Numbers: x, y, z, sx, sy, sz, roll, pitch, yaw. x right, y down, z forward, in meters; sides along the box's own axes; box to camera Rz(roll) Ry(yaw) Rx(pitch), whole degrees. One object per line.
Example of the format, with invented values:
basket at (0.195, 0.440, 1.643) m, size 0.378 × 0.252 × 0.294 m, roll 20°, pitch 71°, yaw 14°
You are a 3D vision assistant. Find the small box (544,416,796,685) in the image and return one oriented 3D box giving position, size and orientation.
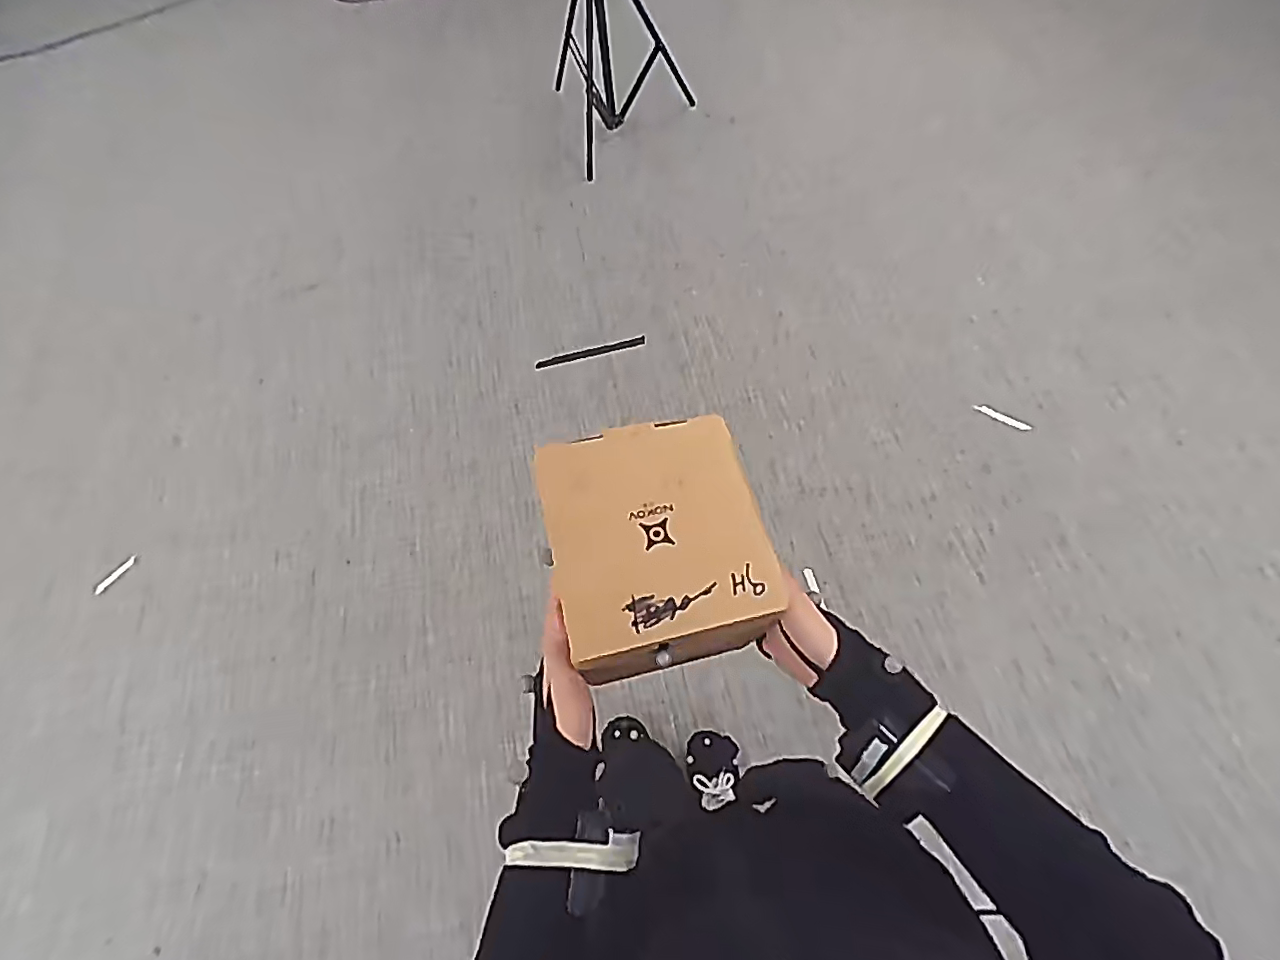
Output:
small box at (0.014, 0.070, 0.490) m, size 0.168 × 0.176 × 0.179 m, roll -12°, pitch 64°, yaw -7°
